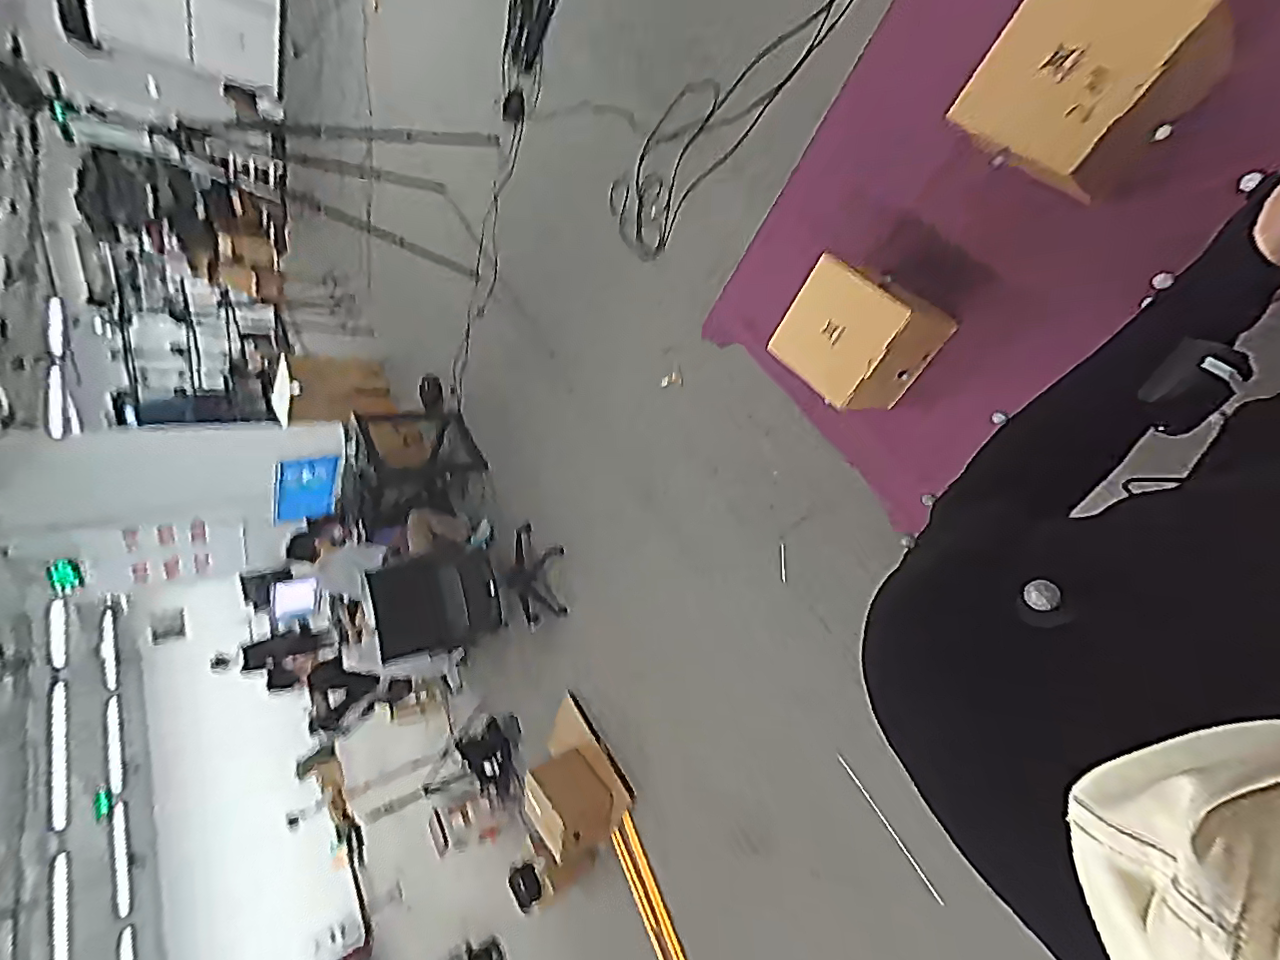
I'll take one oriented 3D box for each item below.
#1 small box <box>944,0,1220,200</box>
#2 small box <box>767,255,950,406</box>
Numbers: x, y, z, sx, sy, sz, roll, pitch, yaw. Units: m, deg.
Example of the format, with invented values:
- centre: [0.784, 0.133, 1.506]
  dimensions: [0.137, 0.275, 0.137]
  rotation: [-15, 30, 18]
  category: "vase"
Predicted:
- centre: [0.515, -0.459, 0.639]
  dimensions: [0.179, 0.176, 0.168]
  rotation: [54, 133, 29]
  category: "small box"
- centre: [0.349, -0.232, 0.870]
  dimensions: [0.179, 0.176, 0.168]
  rotation: [51, 130, 30]
  category: "small box"
